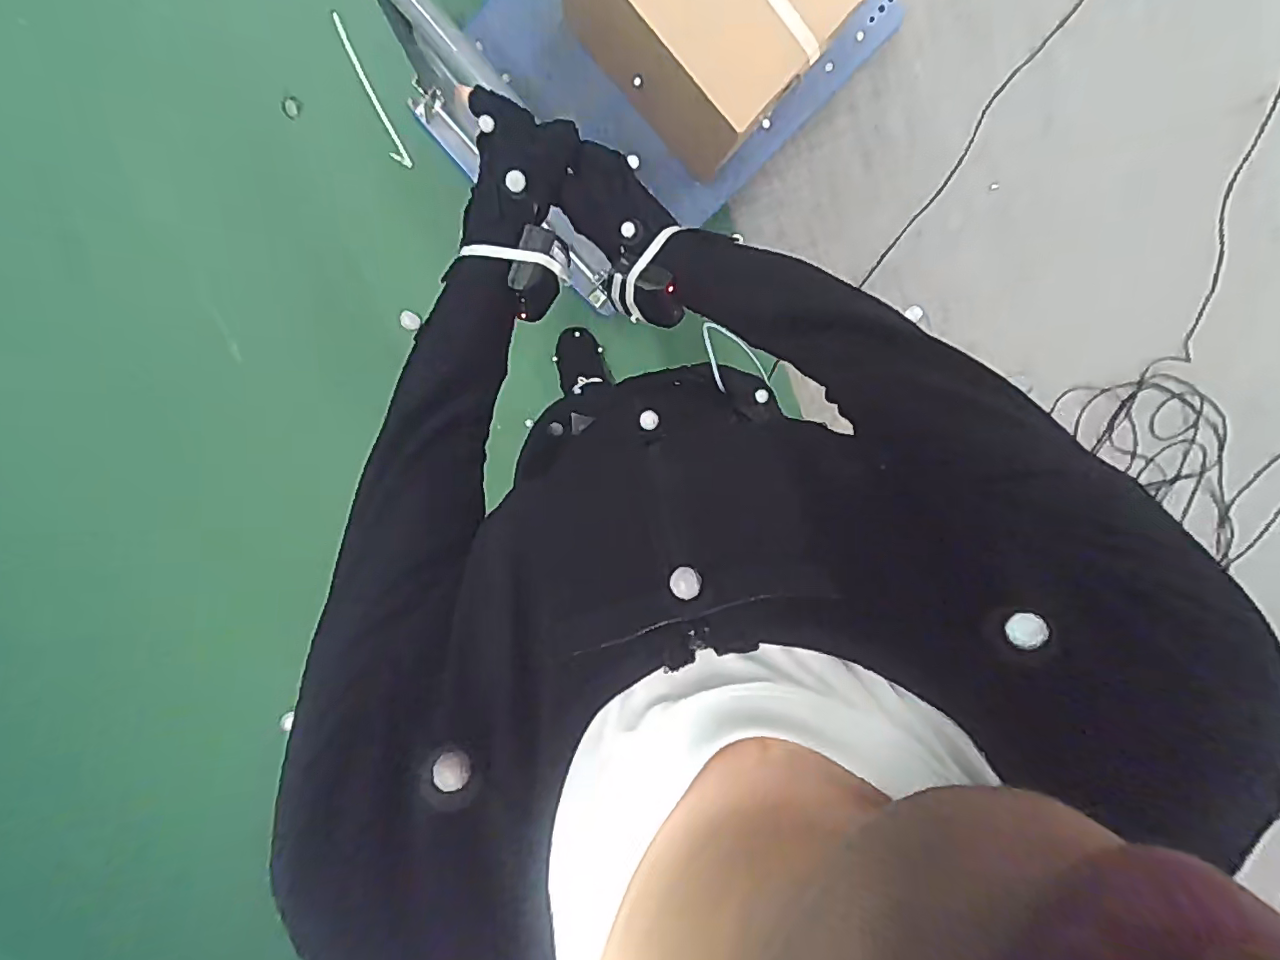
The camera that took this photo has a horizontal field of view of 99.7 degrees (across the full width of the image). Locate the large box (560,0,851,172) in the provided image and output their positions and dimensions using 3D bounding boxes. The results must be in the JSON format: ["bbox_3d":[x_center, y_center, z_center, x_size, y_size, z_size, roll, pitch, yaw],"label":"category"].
[{"bbox_3d":[0.102,-0.833,0.927,0.408,0.320,0.320,43,98,-14],"label":"large box"}]
